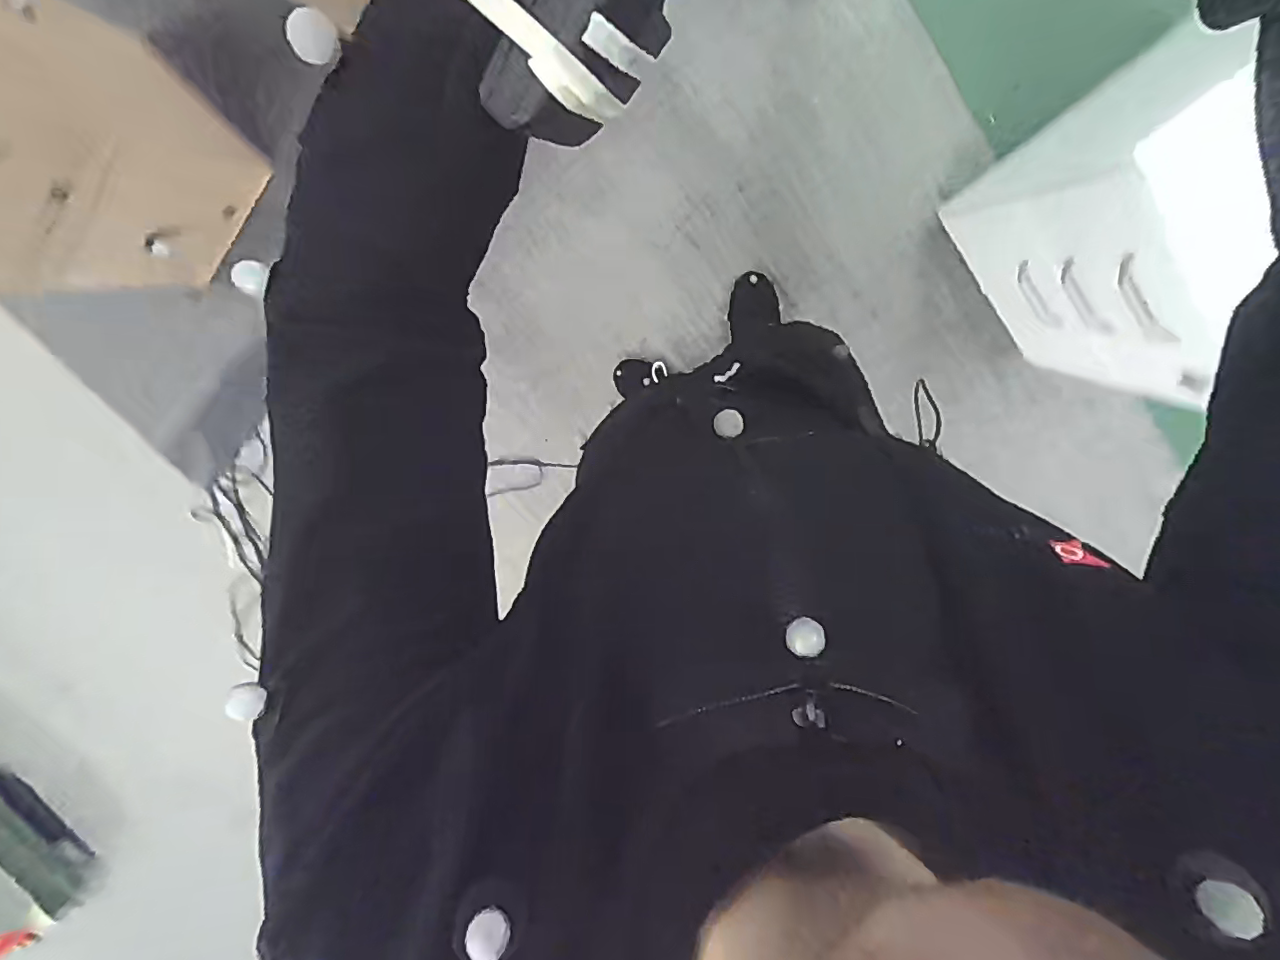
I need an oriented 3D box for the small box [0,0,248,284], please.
[{"bbox_3d":[-0.523,-0.308,0.500,0.179,0.176,0.168,44,109,-10],"label":"small box"}]
